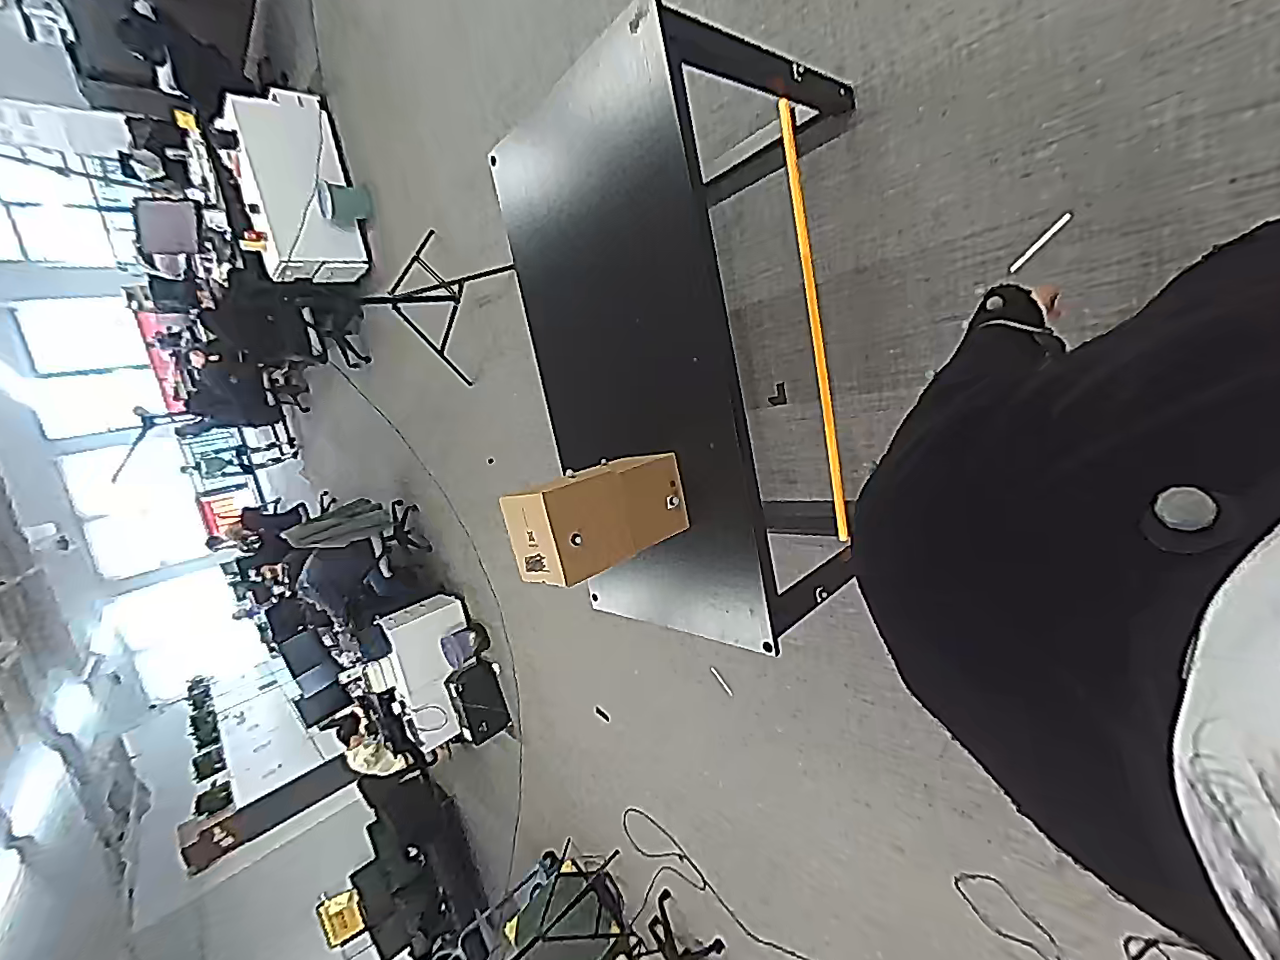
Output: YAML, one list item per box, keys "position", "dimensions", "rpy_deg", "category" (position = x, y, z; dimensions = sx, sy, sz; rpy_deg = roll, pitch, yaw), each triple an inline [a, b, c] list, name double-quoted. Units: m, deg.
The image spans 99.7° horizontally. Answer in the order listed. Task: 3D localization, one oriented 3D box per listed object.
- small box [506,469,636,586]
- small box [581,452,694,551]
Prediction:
- position: [-0.130, 0.087, 1.047]
  dimensions: [0.168, 0.176, 0.179]
  rpy_deg: [-6, 100, 50]
  category: "small box"
- position: [-0.014, 0.043, 1.155]
  dimensions: [0.179, 0.176, 0.168]
  rpy_deg: [-4, 102, 49]
  category: "small box"
